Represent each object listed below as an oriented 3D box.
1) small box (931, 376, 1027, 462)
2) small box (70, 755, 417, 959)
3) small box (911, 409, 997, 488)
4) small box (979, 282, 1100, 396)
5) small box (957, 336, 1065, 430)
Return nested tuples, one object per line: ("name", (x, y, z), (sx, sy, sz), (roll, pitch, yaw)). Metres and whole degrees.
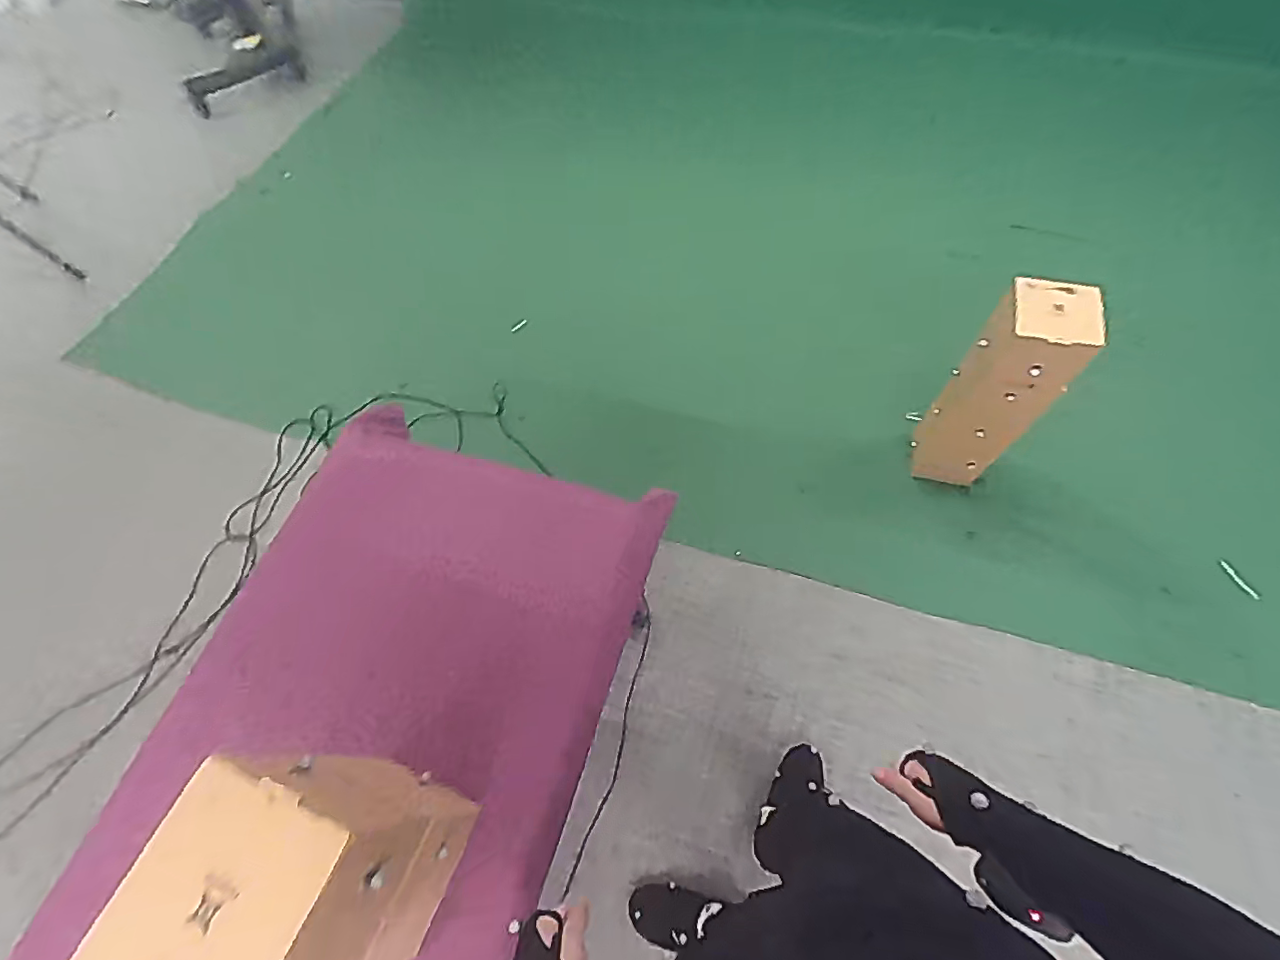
("small box", (0.946, -0.168, 1.514), (0.179, 0.176, 0.168), (12, 64, 12))
("small box", (-0.341, 0.383, 0.508), (0.168, 0.176, 0.179), (18, 65, 14))
("small box", (0.957, -0.092, 1.657), (0.179, 0.176, 0.168), (11, 63, 10))
("small box", (0.896, -0.314, 1.225), (0.168, 0.176, 0.179), (14, 65, 12))
("small box", (0.927, -0.244, 1.371), (0.179, 0.176, 0.168), (10, 64, 10))
